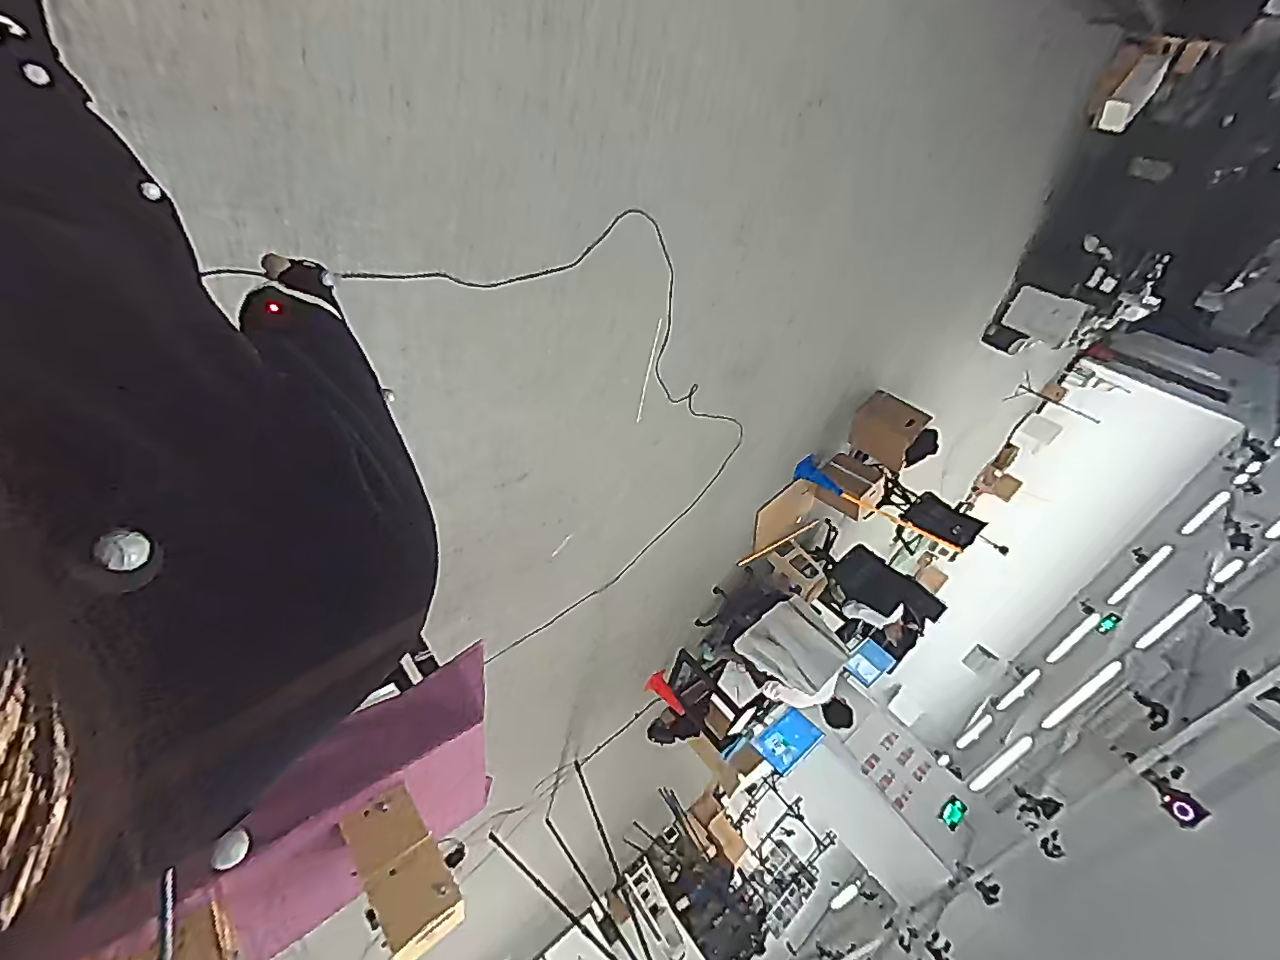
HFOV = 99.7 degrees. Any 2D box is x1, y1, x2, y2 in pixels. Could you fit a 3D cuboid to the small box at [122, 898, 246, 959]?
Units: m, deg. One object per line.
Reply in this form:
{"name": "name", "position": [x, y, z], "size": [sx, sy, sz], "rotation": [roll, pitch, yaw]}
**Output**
{"name": "small box", "position": [-0.967, 1.053, 1.161], "size": [0.168, 0.176, 0.179], "rotation": [-23, 140, -37]}

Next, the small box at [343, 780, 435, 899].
{"name": "small box", "position": [-0.650, 0.926, 1.406], "size": [0.168, 0.176, 0.179], "rotation": [-21, 138, -37]}
